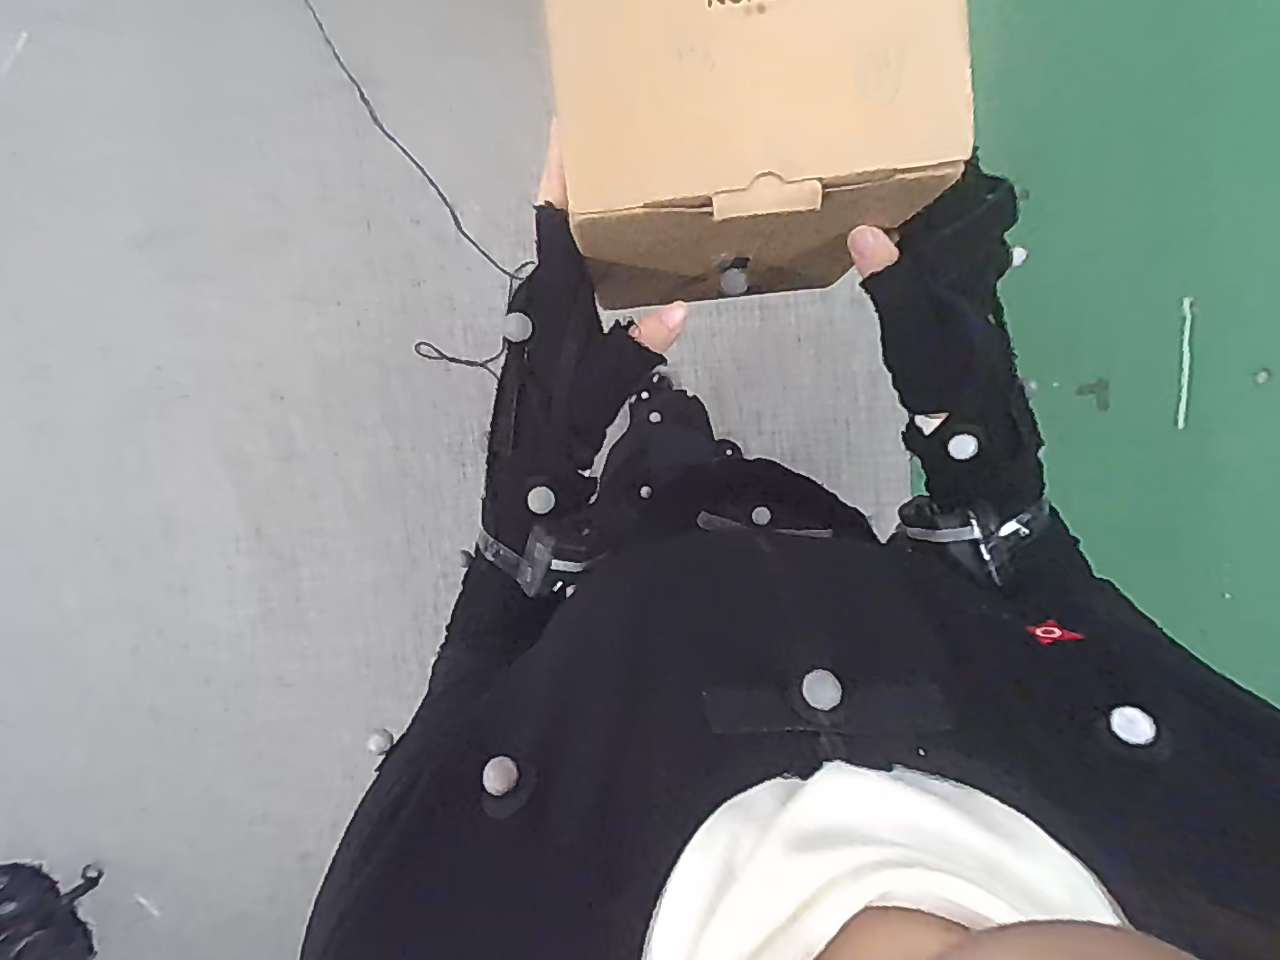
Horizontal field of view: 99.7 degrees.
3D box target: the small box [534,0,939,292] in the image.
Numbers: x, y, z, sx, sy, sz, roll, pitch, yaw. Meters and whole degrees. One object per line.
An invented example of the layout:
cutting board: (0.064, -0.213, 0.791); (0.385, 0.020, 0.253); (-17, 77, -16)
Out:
small box: (0.040, -0.214, 0.302); (0.168, 0.176, 0.179); (-6, 95, 2)
